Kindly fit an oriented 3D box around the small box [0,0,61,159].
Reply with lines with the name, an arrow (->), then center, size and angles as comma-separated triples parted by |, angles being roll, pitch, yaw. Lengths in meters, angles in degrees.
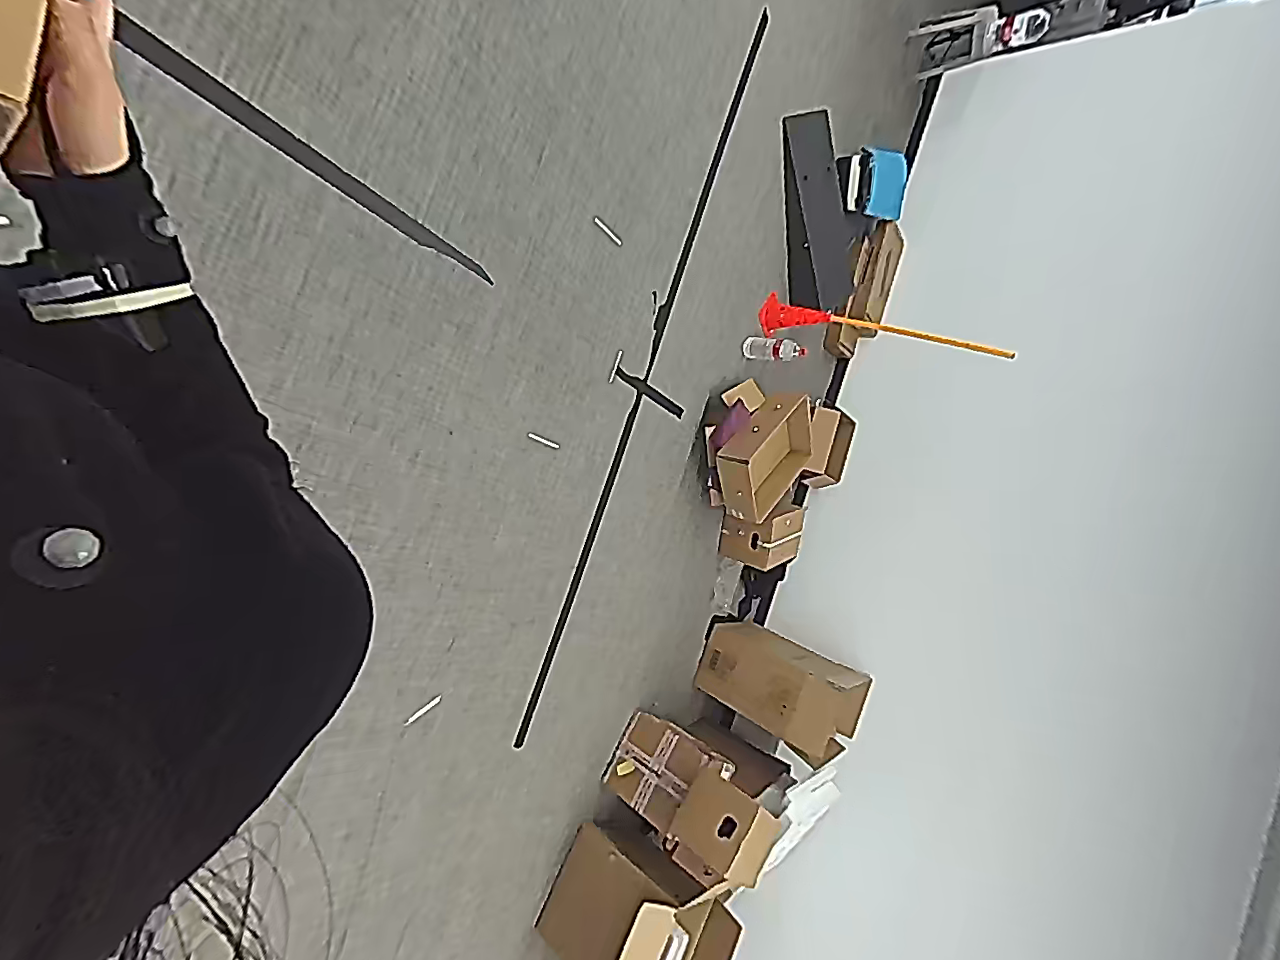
small box -> -0.337, -0.252, 0.201 | 0.168, 0.176, 0.179 | 11, 90, -55
